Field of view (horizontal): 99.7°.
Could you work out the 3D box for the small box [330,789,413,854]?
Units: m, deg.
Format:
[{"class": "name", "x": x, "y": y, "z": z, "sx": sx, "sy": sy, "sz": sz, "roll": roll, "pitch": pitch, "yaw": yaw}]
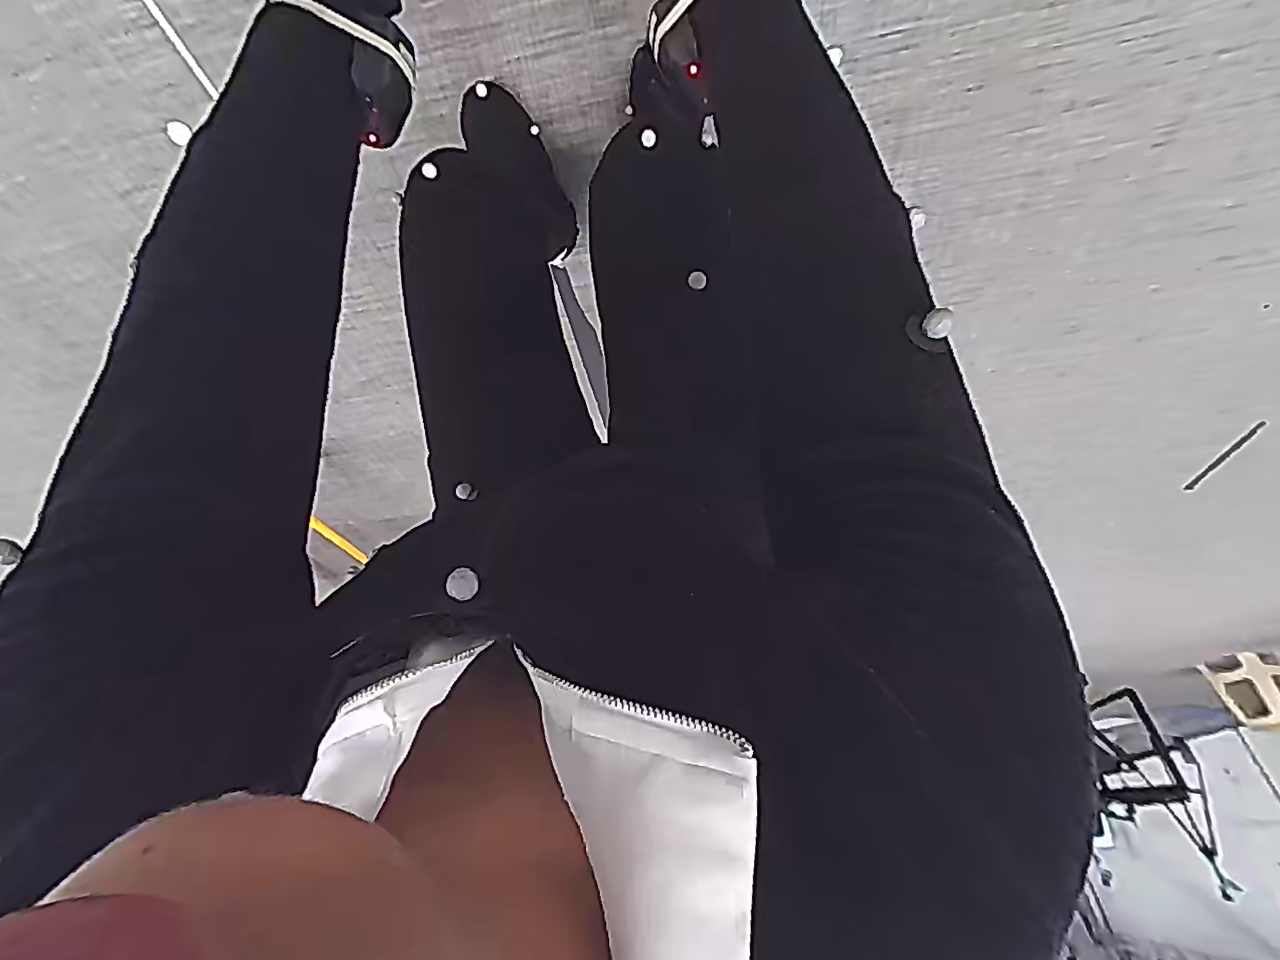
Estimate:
[{"class": "small box", "x": -0.865, "y": 1.109, "z": 1.756, "sx": 0.168, "sy": 0.176, "sz": 0.179, "roll": -8, "pitch": 144, "yaw": 7}]
